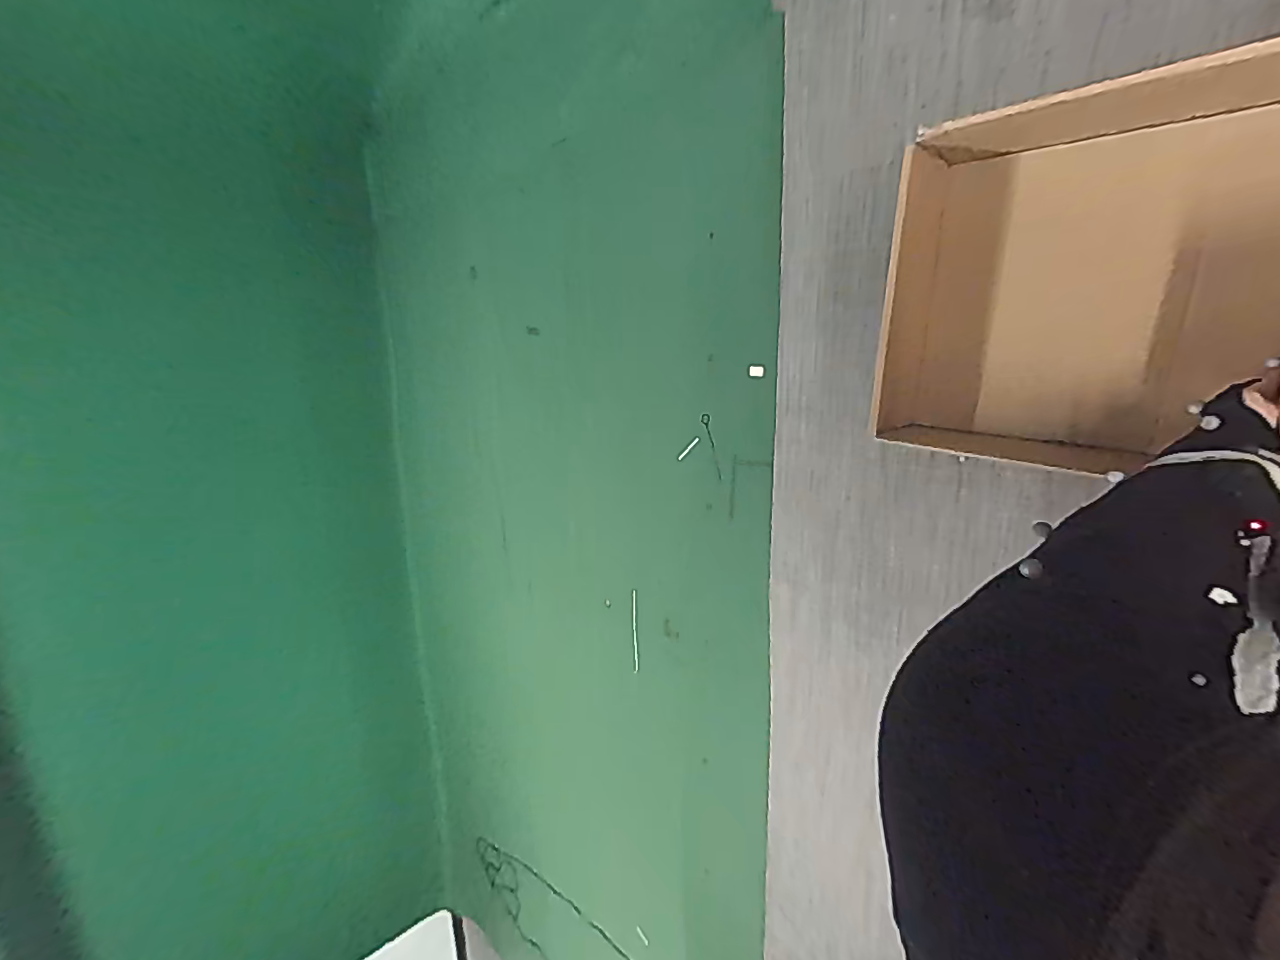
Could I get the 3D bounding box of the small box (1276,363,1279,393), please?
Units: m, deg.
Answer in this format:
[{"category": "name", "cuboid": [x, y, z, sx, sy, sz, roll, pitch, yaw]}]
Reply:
[{"category": "small box", "cuboid": [0.668, -0.147, 0.446, 0.168, 0.176, 0.179, 13, 103, 48]}]
